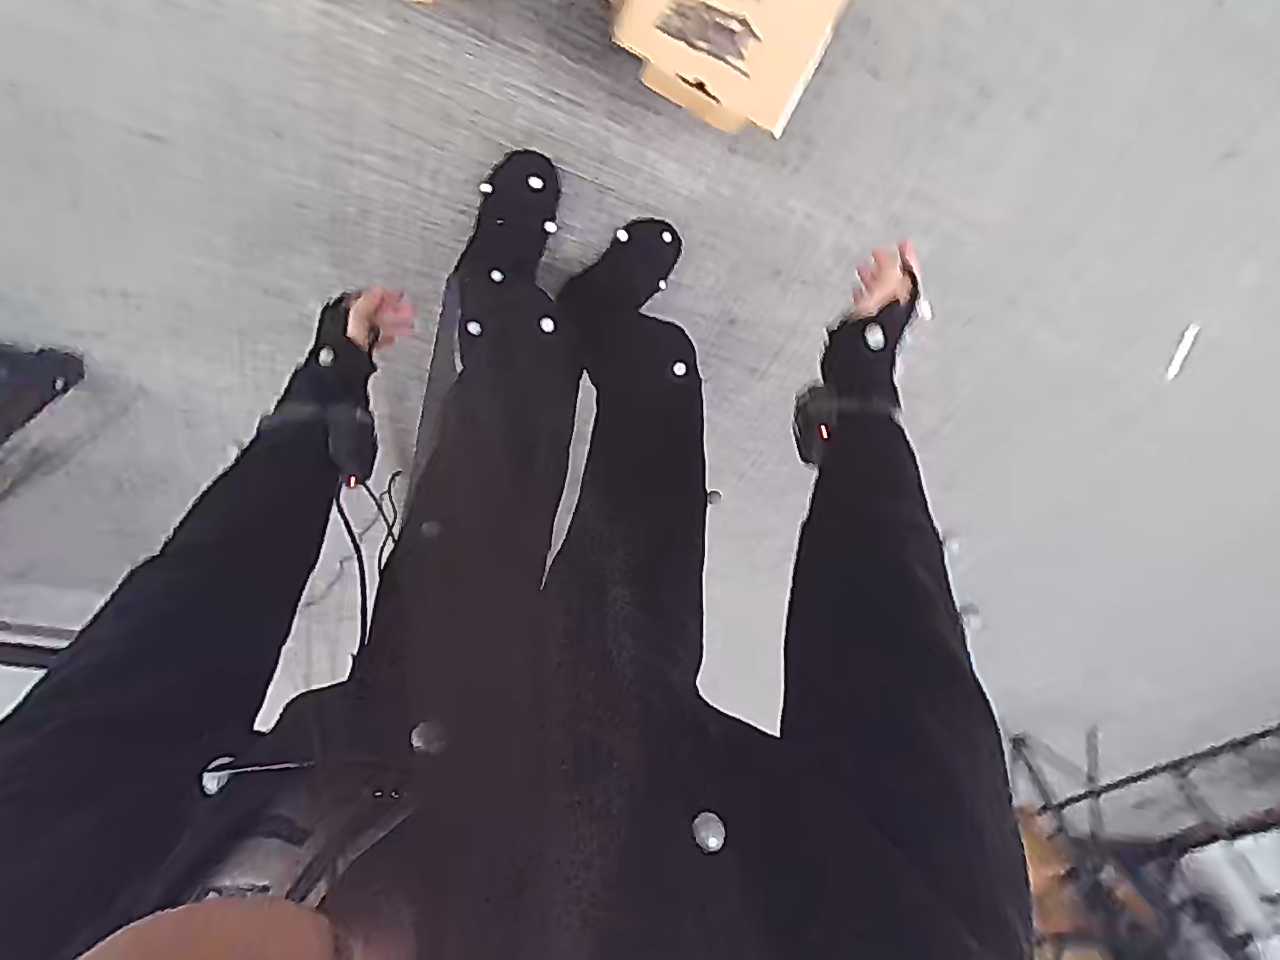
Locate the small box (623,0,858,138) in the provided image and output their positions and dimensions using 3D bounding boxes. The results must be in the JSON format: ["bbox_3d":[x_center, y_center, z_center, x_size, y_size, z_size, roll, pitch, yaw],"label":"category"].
[{"bbox_3d":[0.093,-0.462,0.495,0.168,0.176,0.179,17,130,-21],"label":"small box"}]
